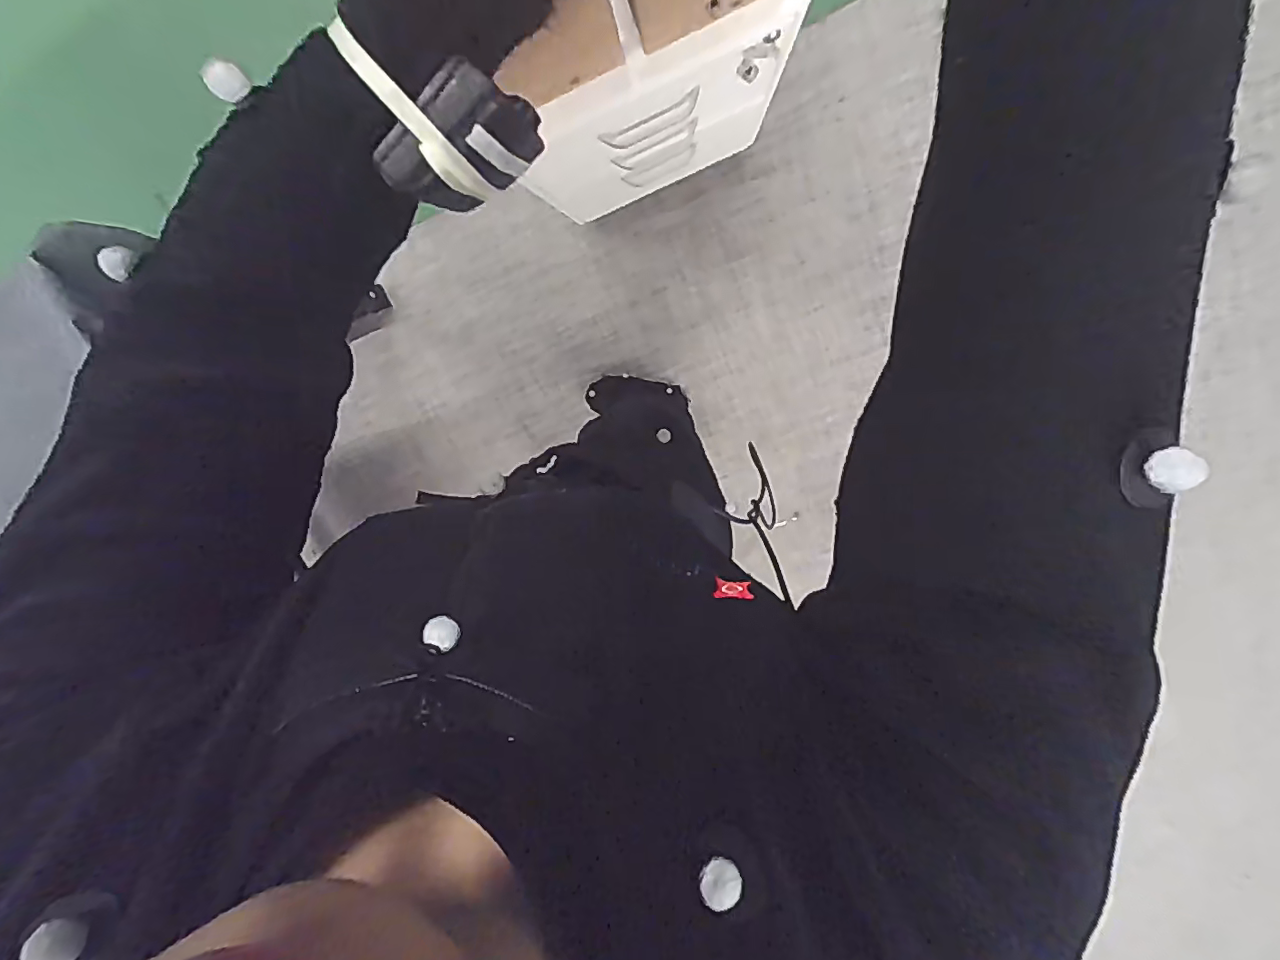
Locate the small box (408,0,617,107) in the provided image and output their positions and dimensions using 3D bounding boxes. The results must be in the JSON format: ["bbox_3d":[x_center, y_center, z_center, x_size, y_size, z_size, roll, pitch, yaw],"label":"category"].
[{"bbox_3d":[-0.131,-0.497,0.521,0.168,0.176,0.179,-19,105,10],"label":"small box"}]
